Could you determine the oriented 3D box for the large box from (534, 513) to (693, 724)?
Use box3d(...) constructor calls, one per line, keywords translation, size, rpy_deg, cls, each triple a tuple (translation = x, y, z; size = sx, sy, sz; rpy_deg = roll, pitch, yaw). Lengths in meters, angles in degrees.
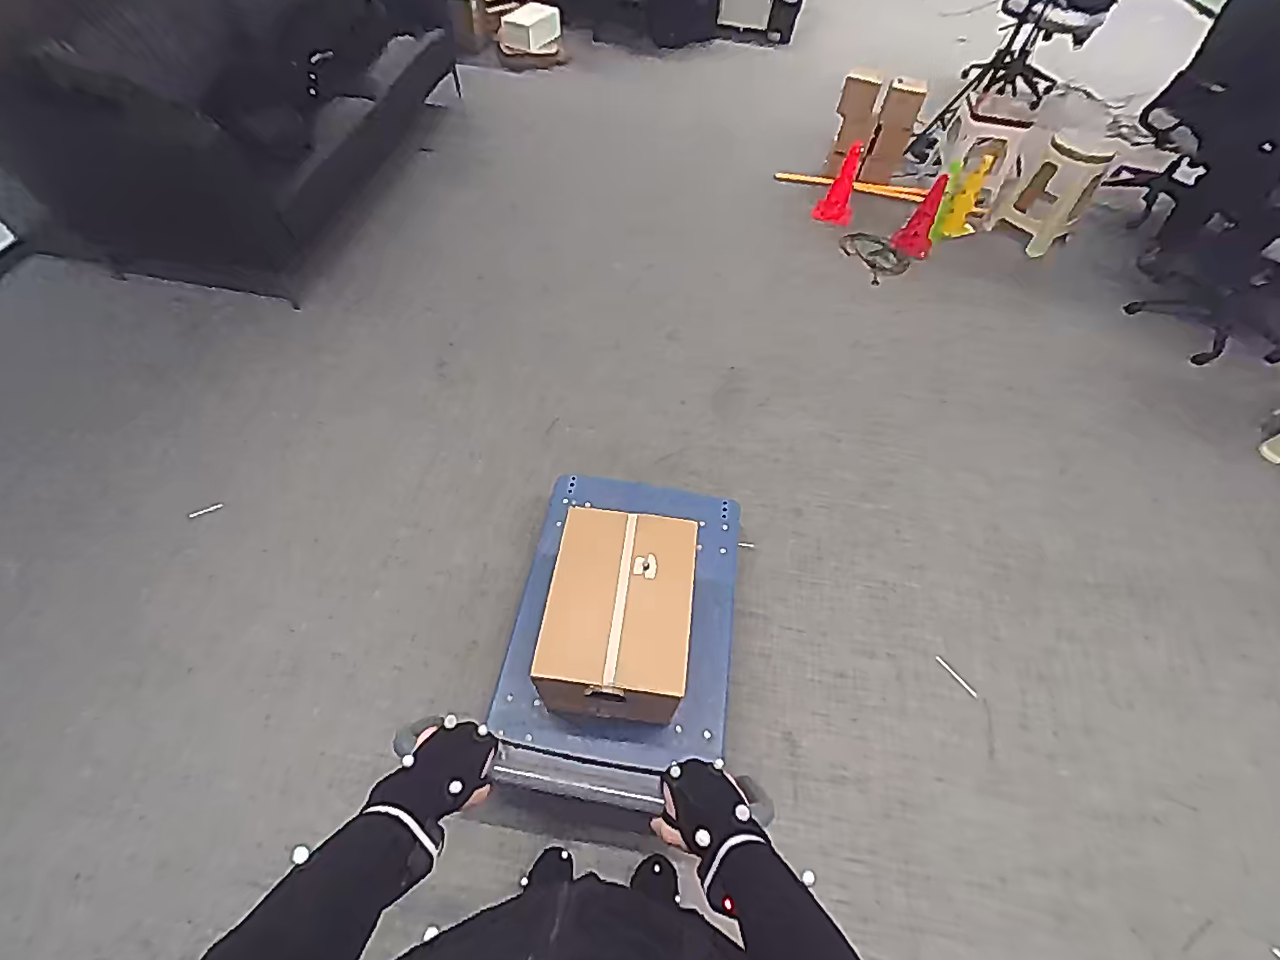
box3d(translation=(-0.048, 0.340, 1.312), size=(0.320, 0.320, 0.408), rpy_deg=(7, 56, 2), cls="large box")
